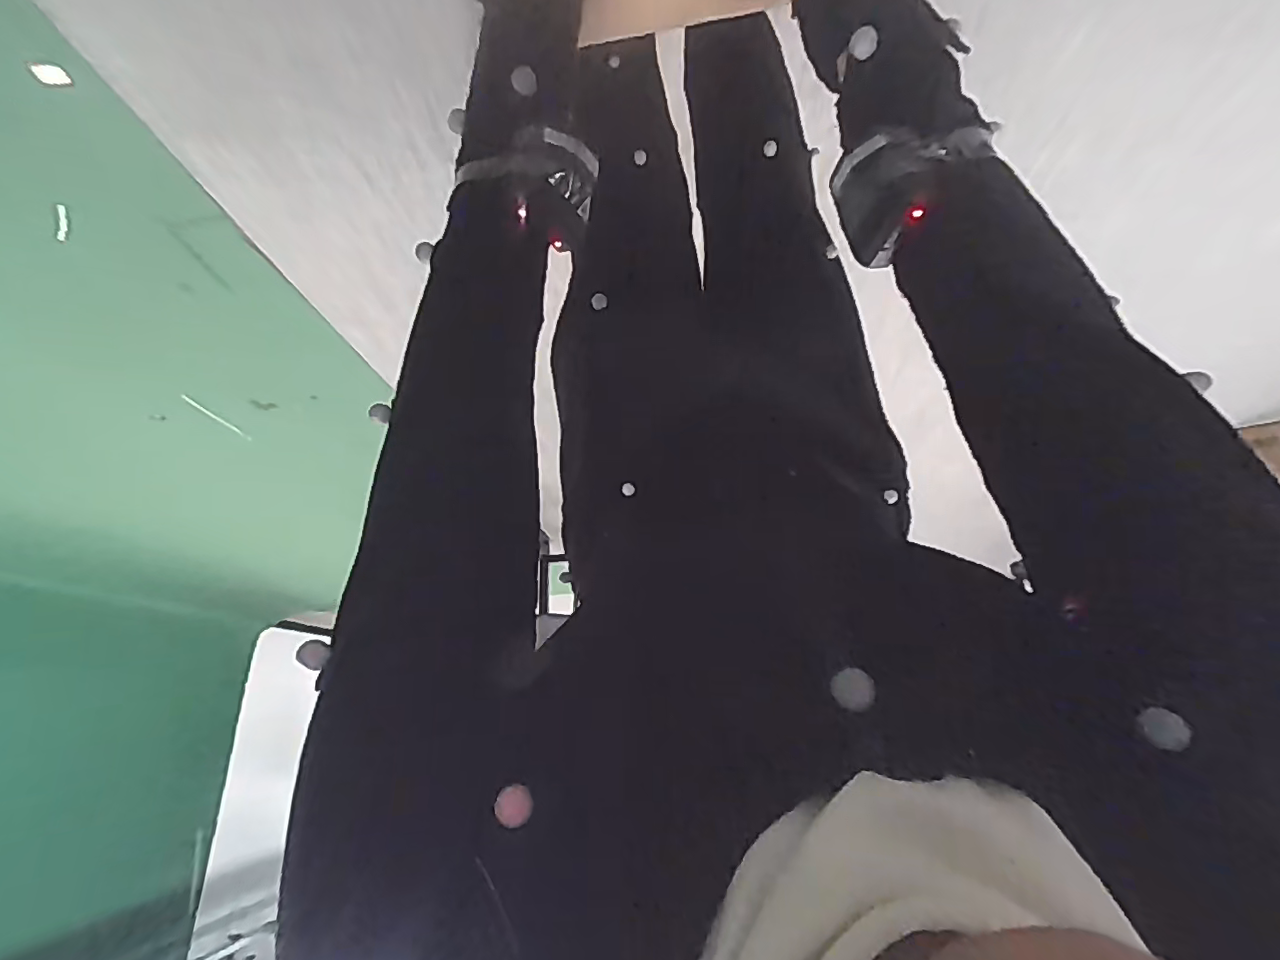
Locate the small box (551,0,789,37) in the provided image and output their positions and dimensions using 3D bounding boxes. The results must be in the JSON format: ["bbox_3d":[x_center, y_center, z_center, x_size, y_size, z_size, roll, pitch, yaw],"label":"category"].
[{"bbox_3d":[0.013,-0.447,0.370,0.179,0.176,0.168,-5,150,2],"label":"small box"}]
